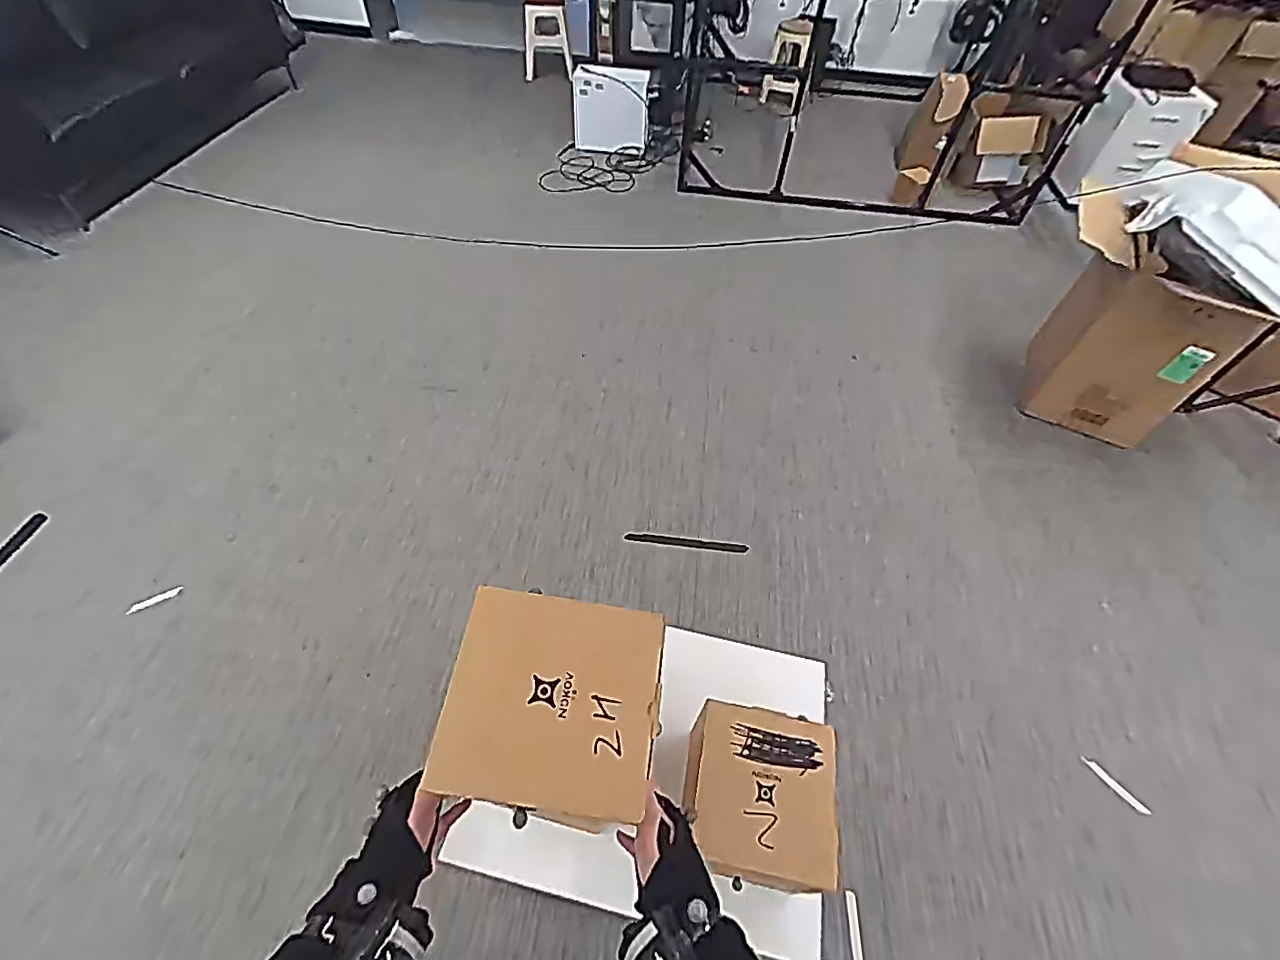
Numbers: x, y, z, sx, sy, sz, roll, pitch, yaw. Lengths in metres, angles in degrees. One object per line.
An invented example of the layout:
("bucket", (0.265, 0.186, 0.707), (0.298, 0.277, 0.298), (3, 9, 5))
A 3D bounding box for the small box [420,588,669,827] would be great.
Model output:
("small box", (-0.076, 0.219, 0.516), (0.179, 0.176, 0.168), (9, 60, 0))

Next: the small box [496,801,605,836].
("small box", (-0.106, 0.356, 0.737), (0.168, 0.176, 0.179), (13, 51, 7))
